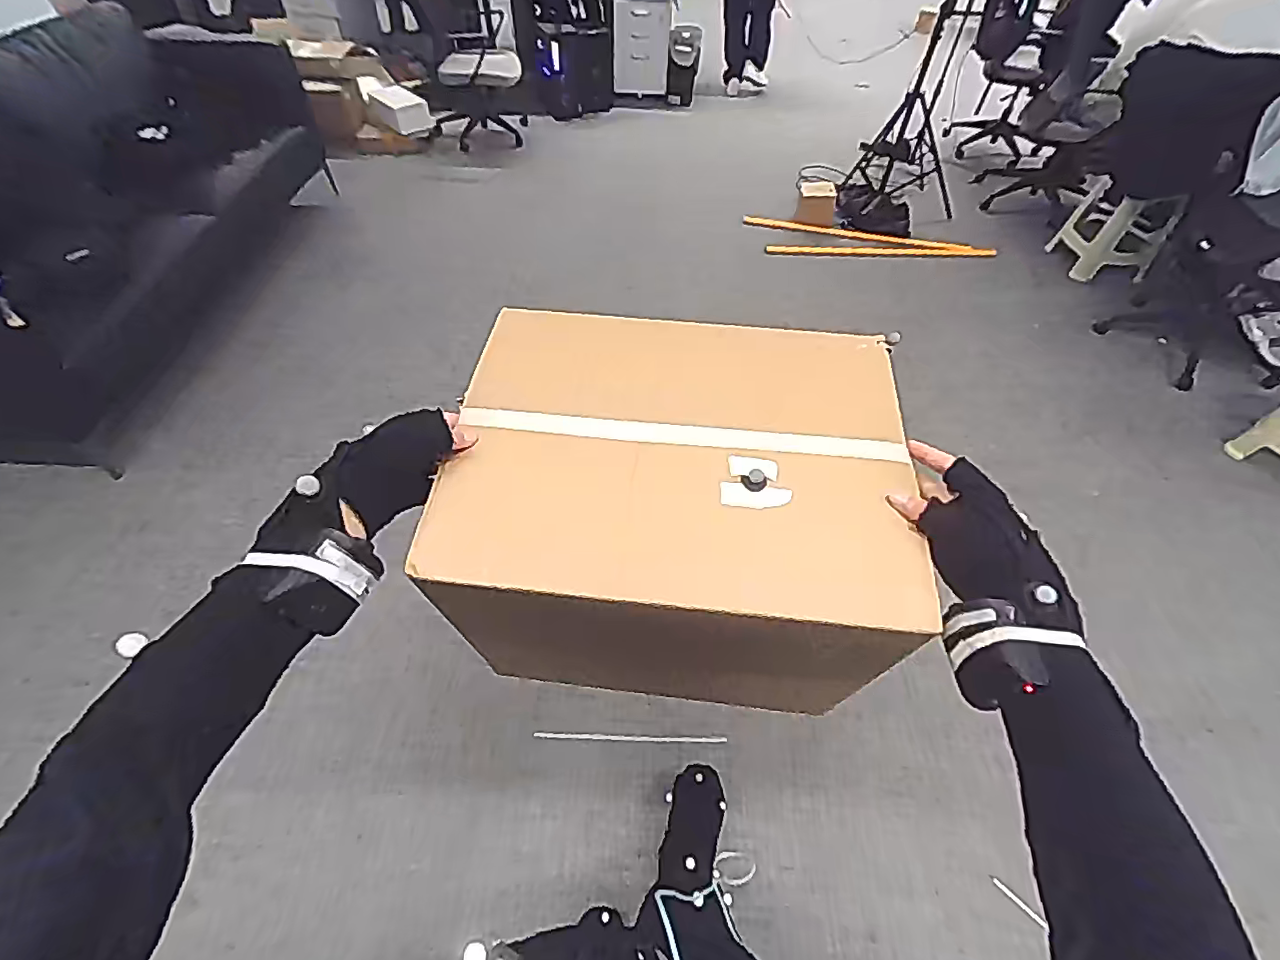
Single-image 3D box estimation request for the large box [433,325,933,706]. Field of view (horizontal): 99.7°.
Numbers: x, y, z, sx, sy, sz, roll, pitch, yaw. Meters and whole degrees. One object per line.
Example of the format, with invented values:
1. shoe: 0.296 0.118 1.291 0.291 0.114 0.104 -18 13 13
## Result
1. large box: 0.040 0.053 0.627 0.408 0.320 0.320 6 57 3
